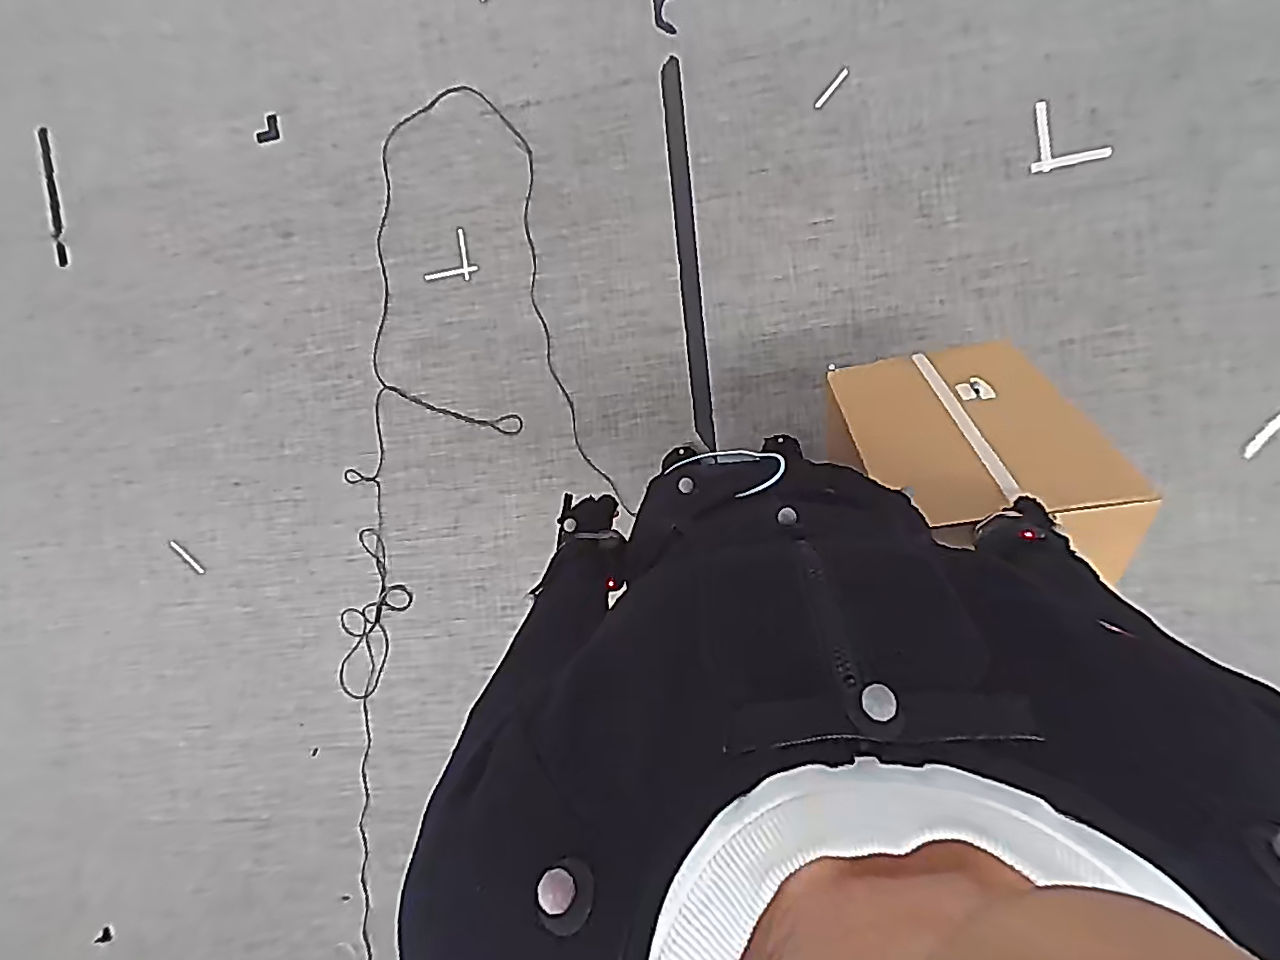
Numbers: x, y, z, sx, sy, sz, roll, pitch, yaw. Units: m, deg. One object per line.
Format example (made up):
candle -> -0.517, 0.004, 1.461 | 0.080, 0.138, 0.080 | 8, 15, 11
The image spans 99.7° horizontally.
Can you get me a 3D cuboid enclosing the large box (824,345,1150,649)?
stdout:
large box -> 0.525, 0.023, 0.934 | 0.320, 0.408, 0.320 | -9, 130, 9
